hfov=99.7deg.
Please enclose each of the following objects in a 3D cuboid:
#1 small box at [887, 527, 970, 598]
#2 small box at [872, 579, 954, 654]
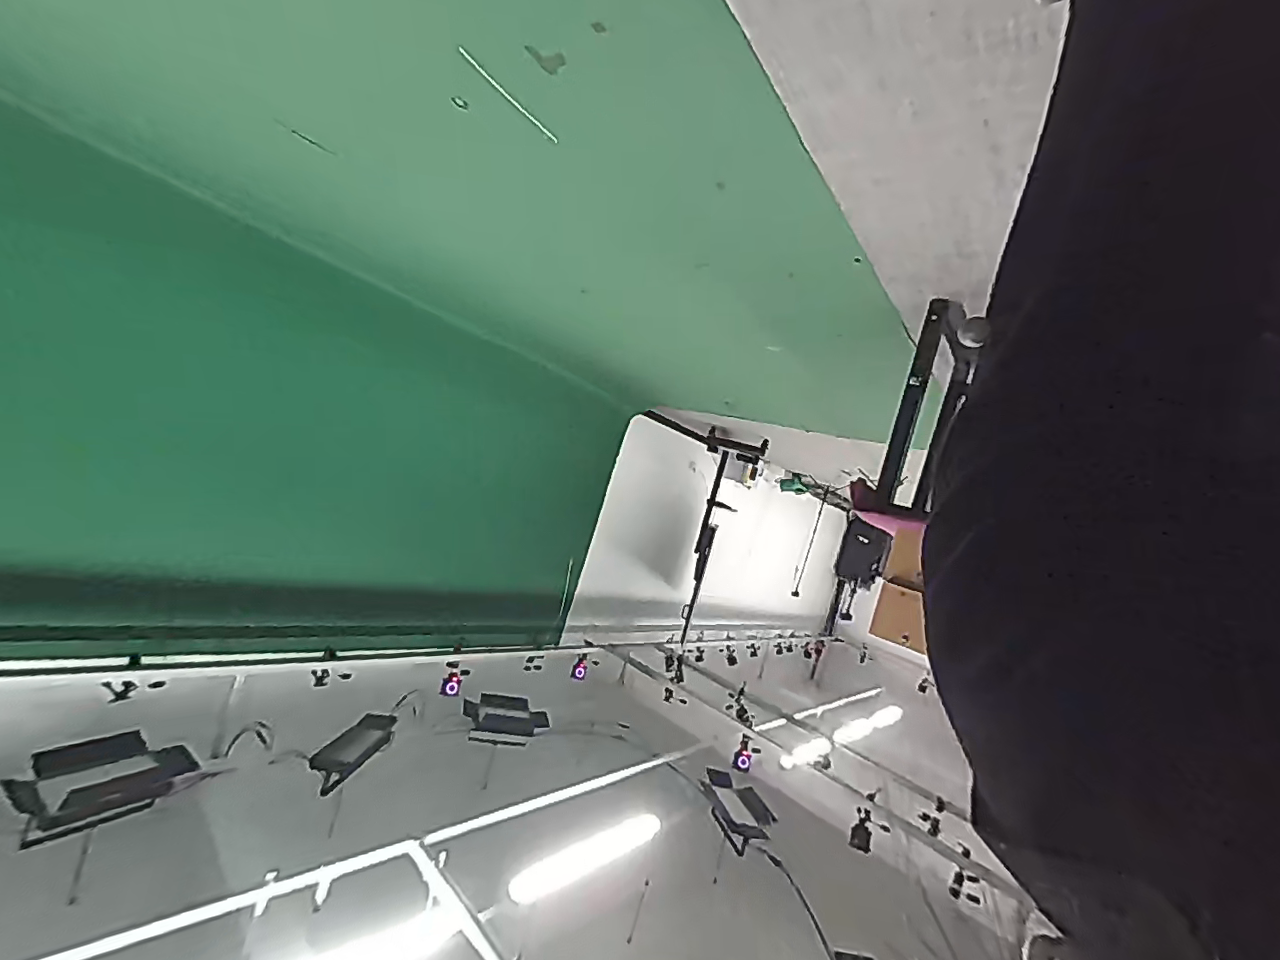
[{"bbox_3d":[0.877,0.247,1.634,0.179,0.176,0.168,16,178,41],"label":"small box"},{"bbox_3d":[0.820,0.401,1.615,0.168,0.176,0.179,15,178,39],"label":"small box"}]
